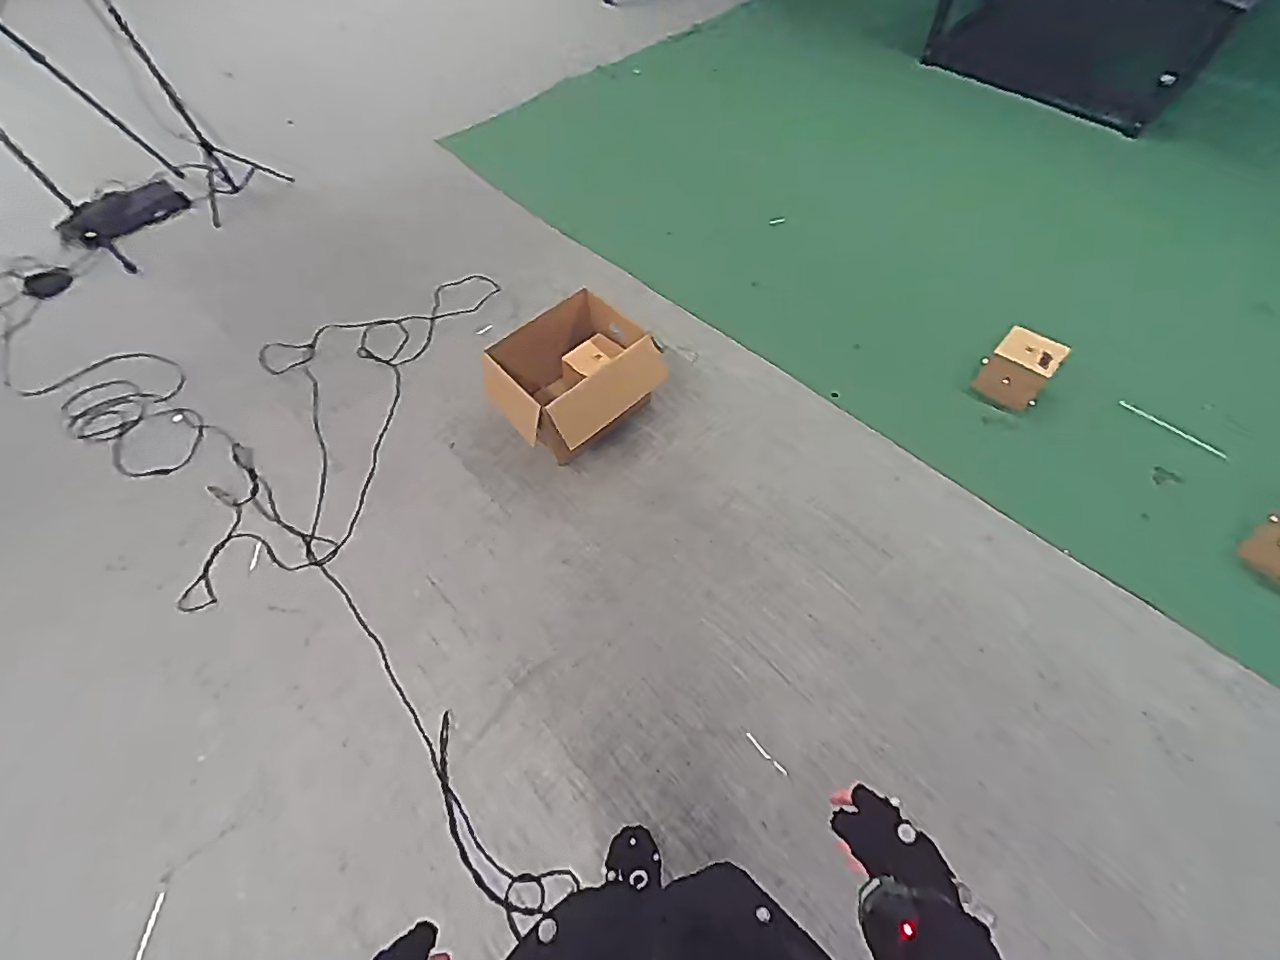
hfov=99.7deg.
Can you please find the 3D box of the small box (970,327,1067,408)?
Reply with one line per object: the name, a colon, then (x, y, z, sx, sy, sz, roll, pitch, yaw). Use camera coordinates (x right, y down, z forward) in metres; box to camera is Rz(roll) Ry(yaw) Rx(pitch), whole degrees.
small box: (1.235, -0.361, 1.774, 0.179, 0.176, 0.168, 37, 67, 24)
